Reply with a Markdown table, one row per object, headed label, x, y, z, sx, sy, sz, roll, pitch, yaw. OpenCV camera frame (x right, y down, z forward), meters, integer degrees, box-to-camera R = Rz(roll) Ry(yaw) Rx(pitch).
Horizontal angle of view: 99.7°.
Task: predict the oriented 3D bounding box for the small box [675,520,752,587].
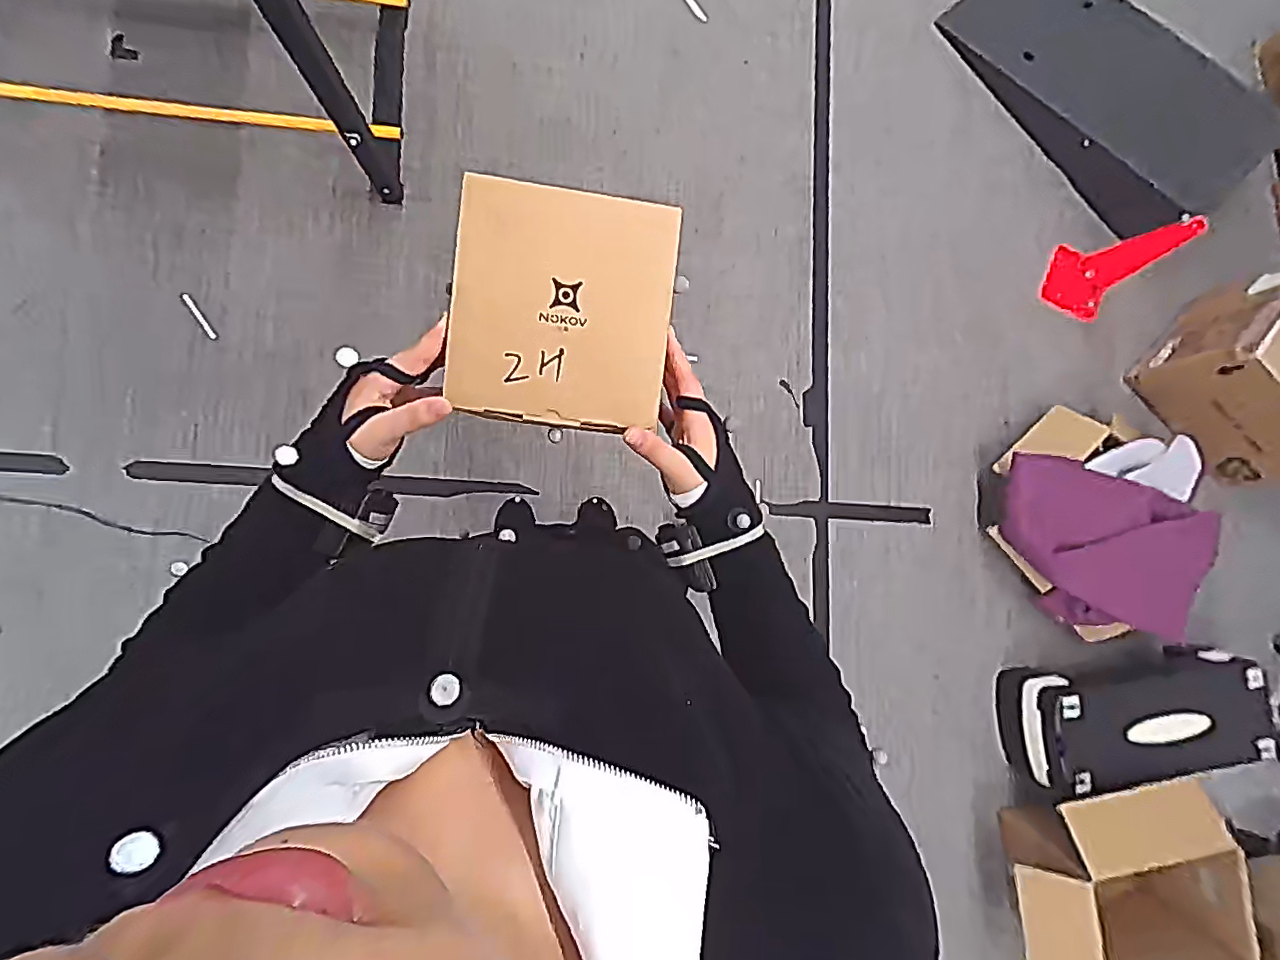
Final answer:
| label | x | y | z | sx | sy | sz | roll | pitch | yaw |
| --- | --- | --- | --- | --- | --- | --- | --- | --- | --- |
| small box | 0.192 | 0.195 | 1.459 | 0.179 | 0.176 | 0.168 | 2 | 86 | -5 |

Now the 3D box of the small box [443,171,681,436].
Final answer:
| label | x | y | z | sx | sy | sz | roll | pitch | yaw |
| --- | --- | --- | --- | --- | --- | --- | --- | --- | --- |
| small box | -0.066 | -0.138 | 0.490 | 0.168 | 0.176 | 0.179 | 6 | 92 | -5 |
